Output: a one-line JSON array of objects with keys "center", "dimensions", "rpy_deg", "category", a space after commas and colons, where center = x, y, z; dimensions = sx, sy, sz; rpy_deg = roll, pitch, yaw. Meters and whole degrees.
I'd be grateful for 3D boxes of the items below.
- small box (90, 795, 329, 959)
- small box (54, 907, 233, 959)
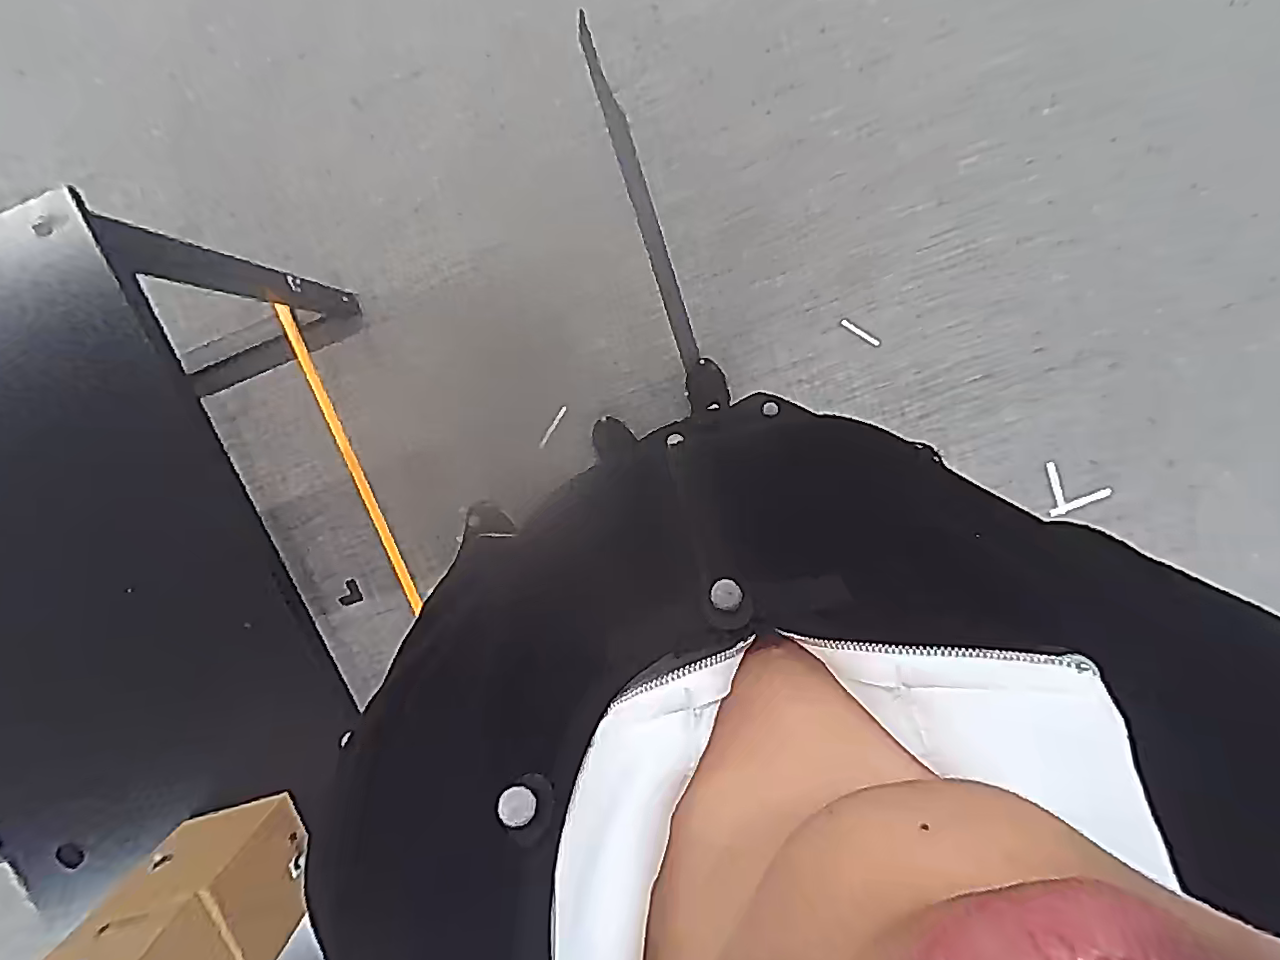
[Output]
[{"center": [-0.594, 0.595, 0.773], "dimensions": [0.179, 0.176, 0.168], "rpy_deg": [-17, 101, 2], "category": "small box"}, {"center": [-0.598, 0.631, 0.612], "dimensions": [0.168, 0.176, 0.179], "rpy_deg": [-17, 100, 3], "category": "small box"}]
